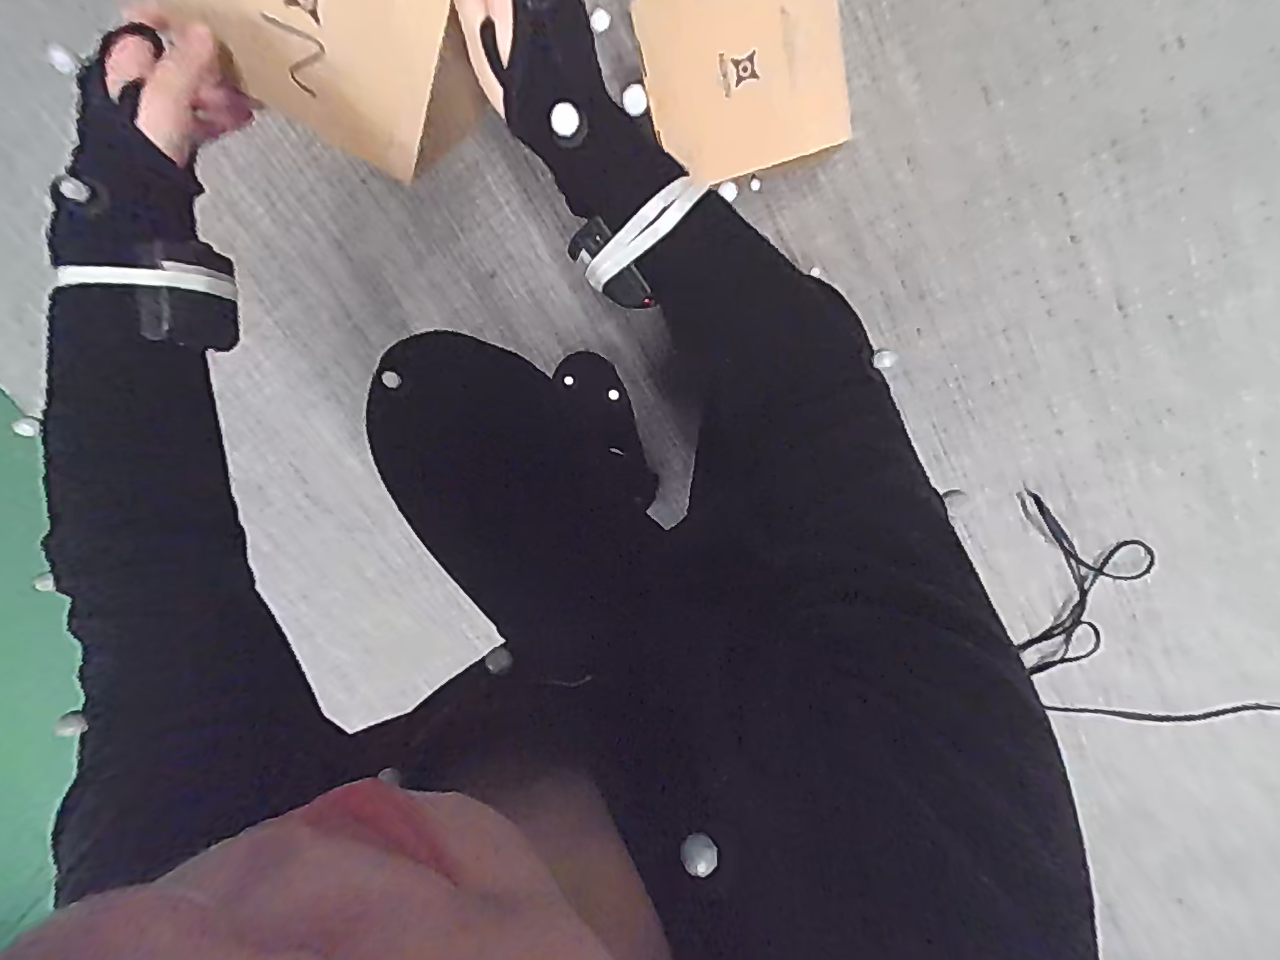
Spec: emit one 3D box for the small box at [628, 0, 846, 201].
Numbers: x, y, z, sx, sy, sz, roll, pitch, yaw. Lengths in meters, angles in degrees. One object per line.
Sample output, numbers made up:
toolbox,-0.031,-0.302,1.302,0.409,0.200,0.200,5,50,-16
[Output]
small box,0.105,-0.403,0.563,0.179,0.176,0.168,-9,113,16
